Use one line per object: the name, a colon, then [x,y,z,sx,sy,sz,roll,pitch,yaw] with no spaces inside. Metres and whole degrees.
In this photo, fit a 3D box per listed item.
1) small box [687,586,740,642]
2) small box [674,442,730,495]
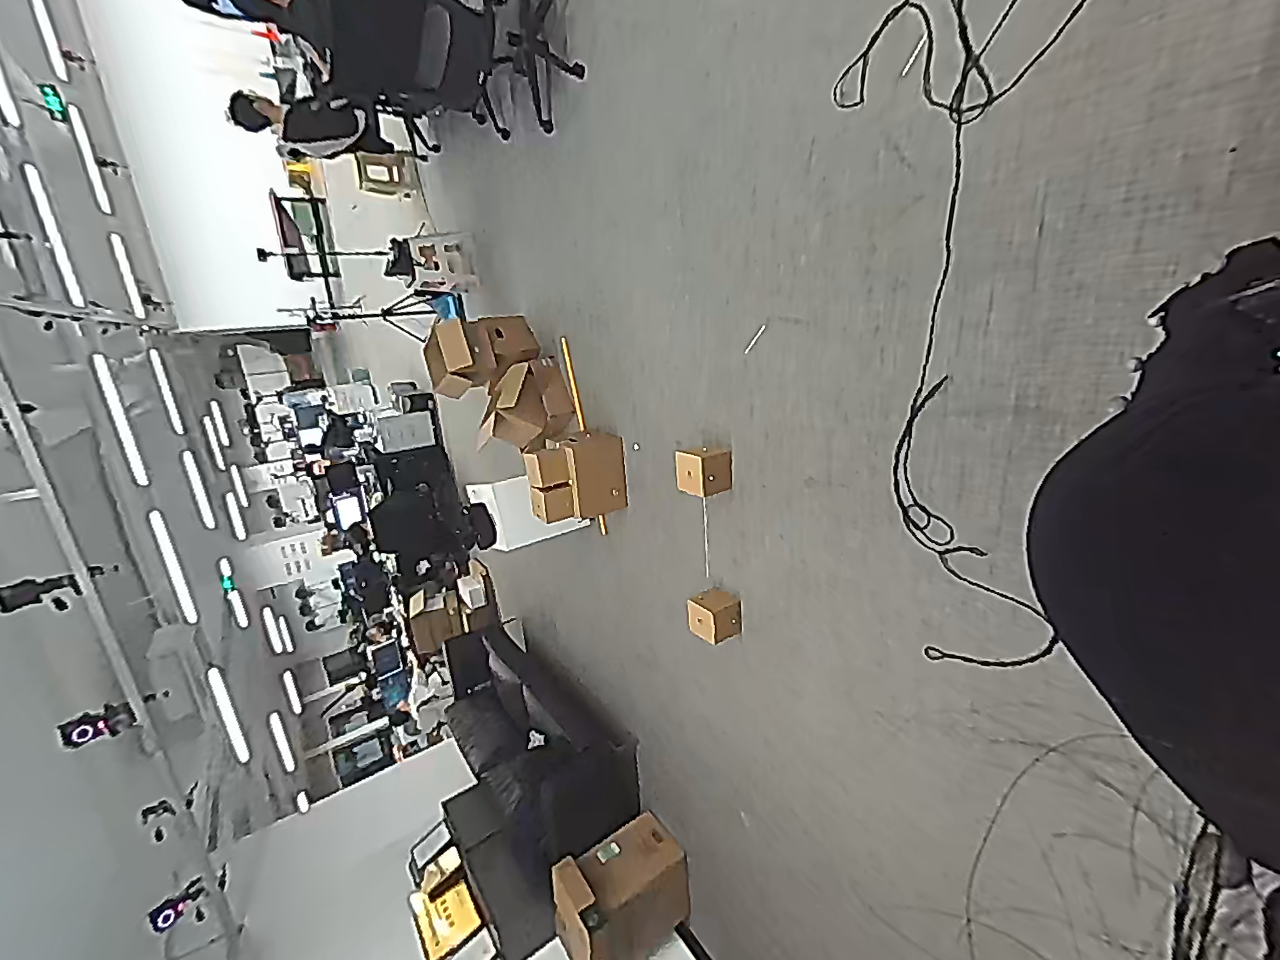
small box: [0.335,0.602,2.457,0.179,0.176,0.168,18,119,53]
small box: [0.265,-0.054,2.271,0.168,0.176,0.179,18,119,52]
